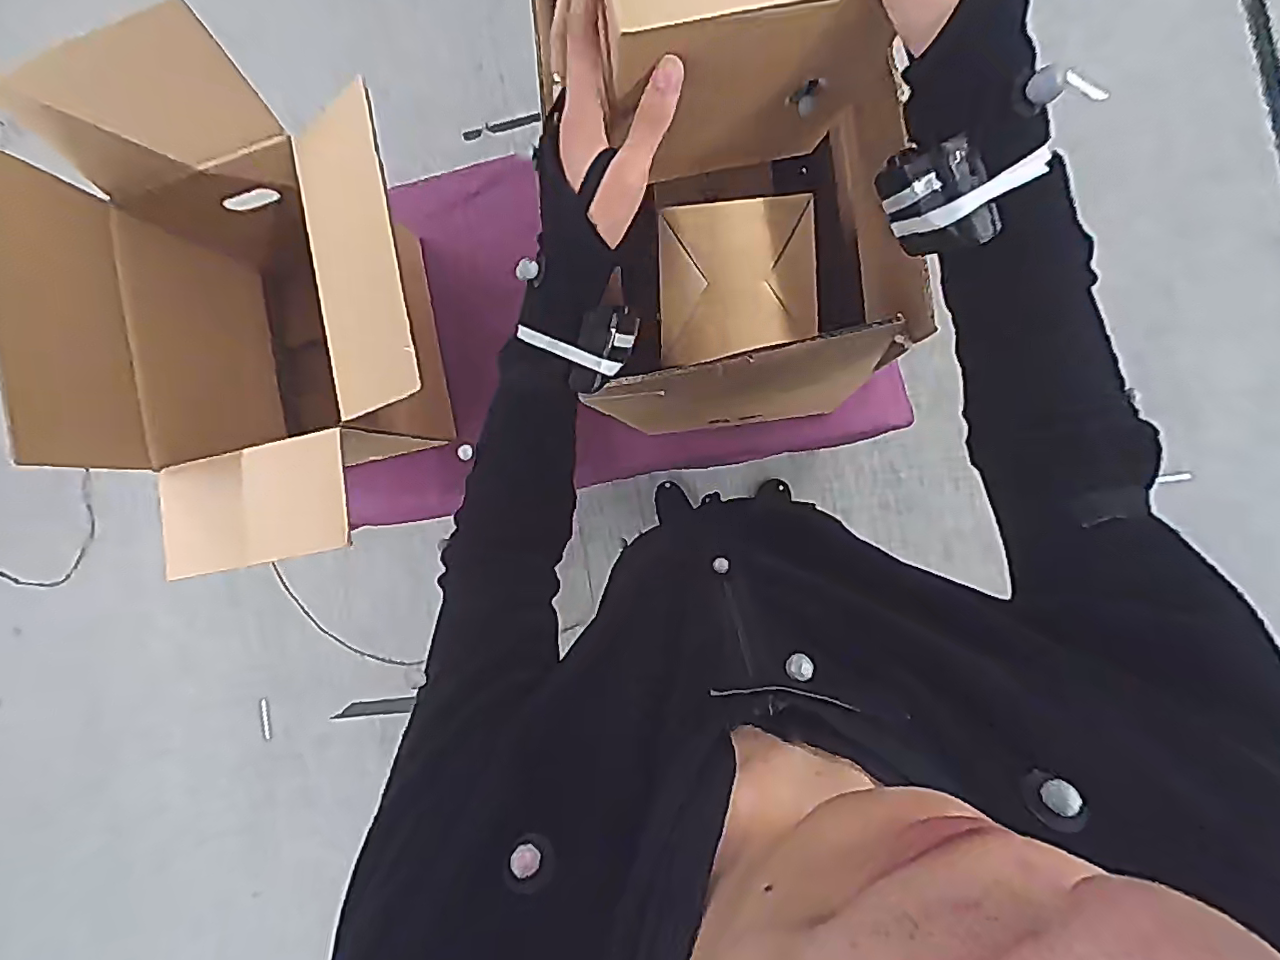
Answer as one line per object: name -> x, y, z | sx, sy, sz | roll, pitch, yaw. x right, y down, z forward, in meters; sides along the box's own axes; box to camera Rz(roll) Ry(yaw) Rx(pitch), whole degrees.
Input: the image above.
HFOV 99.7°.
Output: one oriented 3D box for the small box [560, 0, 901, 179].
small box -> 0.042, -0.333, 0.359 | 0.179, 0.176, 0.168 | -13, 93, -4
